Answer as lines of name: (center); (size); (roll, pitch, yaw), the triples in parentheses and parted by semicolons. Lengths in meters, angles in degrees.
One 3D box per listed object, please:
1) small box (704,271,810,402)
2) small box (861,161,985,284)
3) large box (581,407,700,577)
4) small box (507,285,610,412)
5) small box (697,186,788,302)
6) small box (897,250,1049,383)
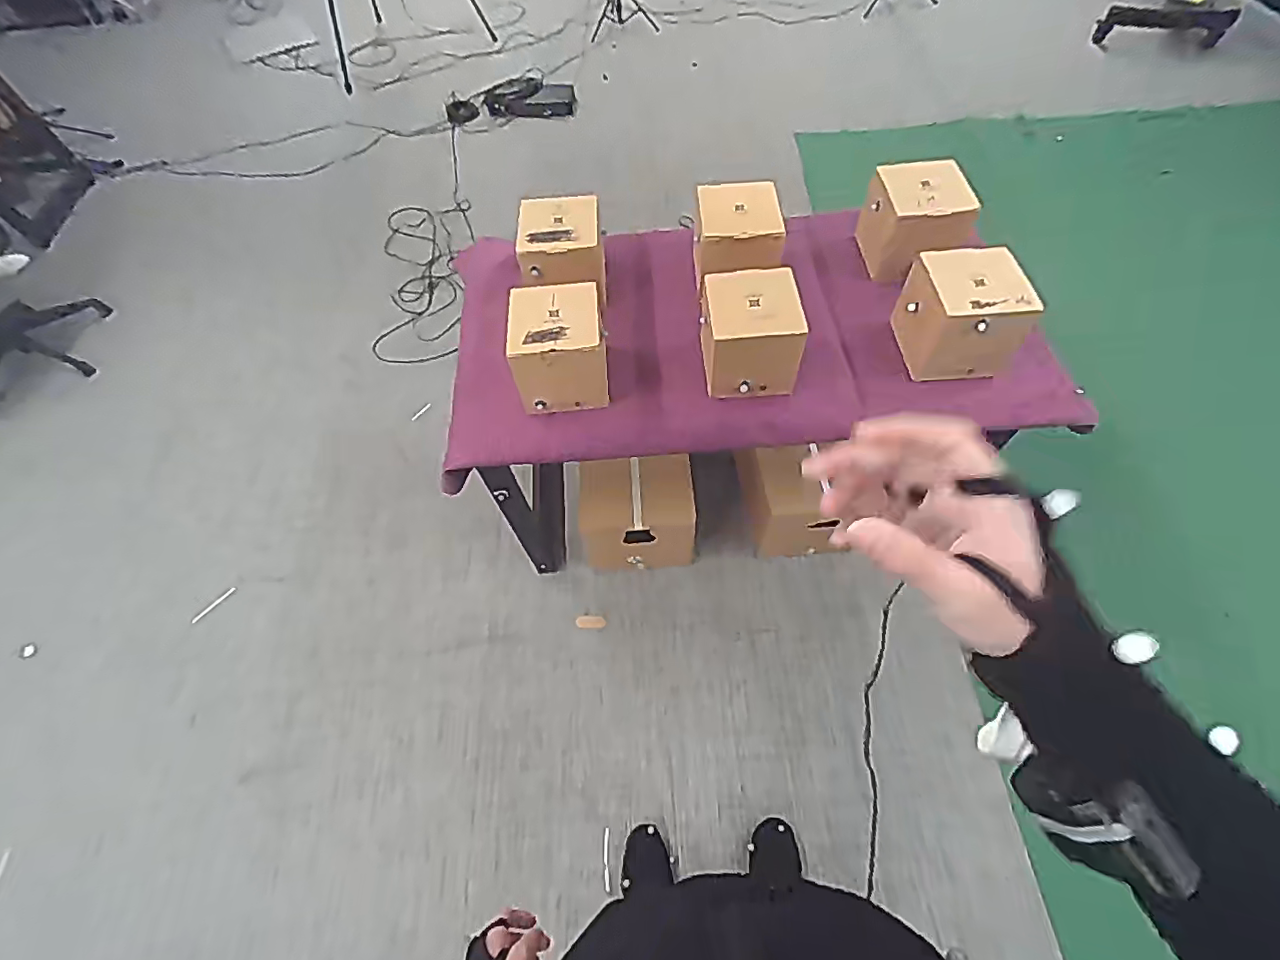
small box: (0.213, -0.271, 1.034); (0.168, 0.176, 0.179); (-4, 59, 3)
small box: (0.597, -0.553, 1.170); (0.168, 0.176, 0.179); (-4, 60, 4)
large box: (0.000, 0.042, 1.634); (0.320, 0.320, 0.408); (-4, 58, 1)
small box: (-0.149, -0.244, 1.041); (0.168, 0.176, 0.179); (-5, 58, 1)
small box: (0.213, -0.507, 1.175); (0.168, 0.176, 0.179); (-3, 60, 2)
small box: (0.612, -0.307, 1.023); (0.168, 0.176, 0.179); (-4, 57, 4)
